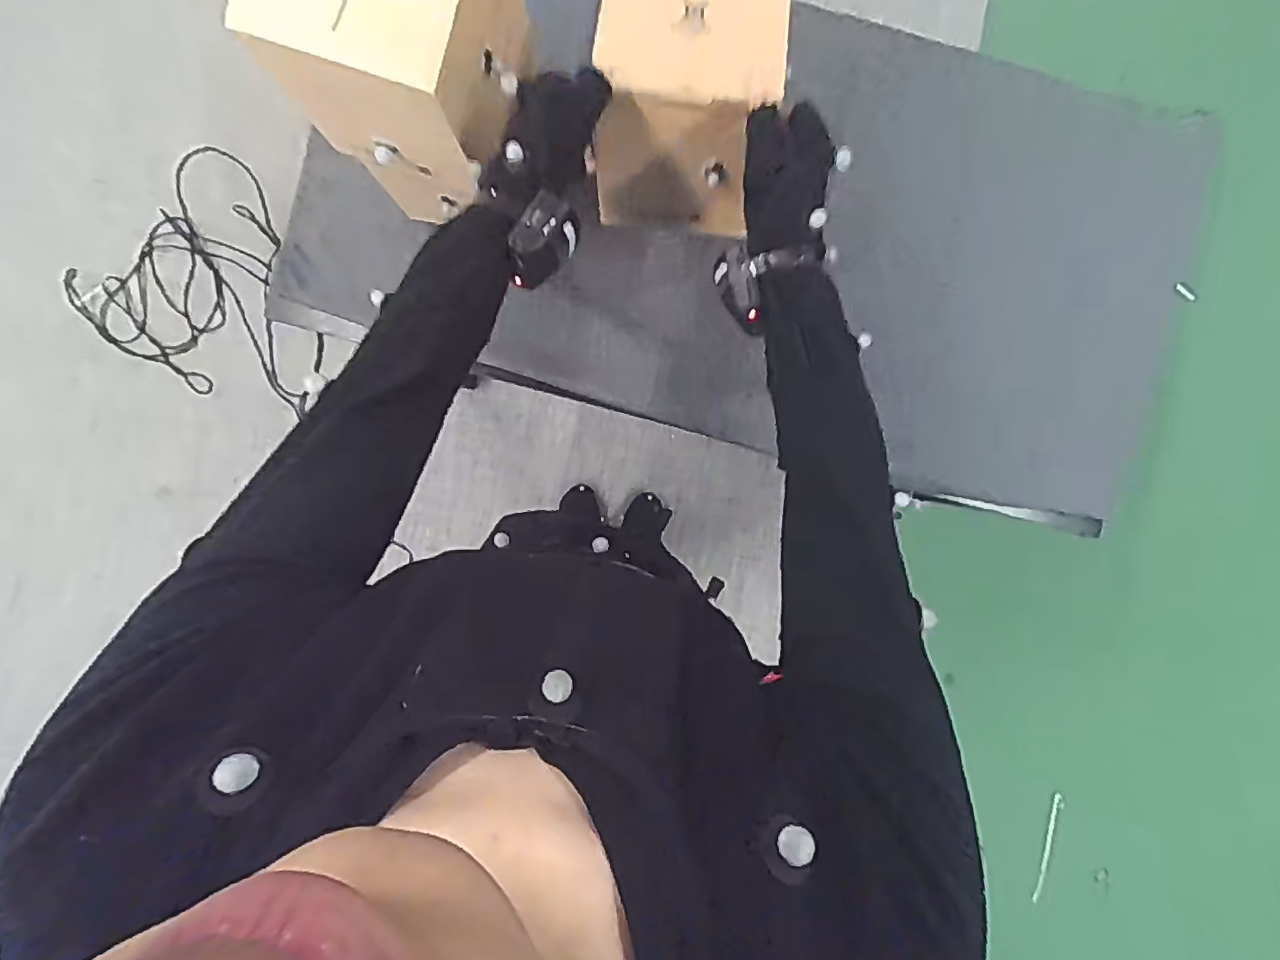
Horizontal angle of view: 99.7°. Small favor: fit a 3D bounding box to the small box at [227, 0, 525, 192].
[{"bbox_3d":[-0.210,-0.403,0.485,0.168,0.176,0.179,17,92,-3],"label":"small box"}]
